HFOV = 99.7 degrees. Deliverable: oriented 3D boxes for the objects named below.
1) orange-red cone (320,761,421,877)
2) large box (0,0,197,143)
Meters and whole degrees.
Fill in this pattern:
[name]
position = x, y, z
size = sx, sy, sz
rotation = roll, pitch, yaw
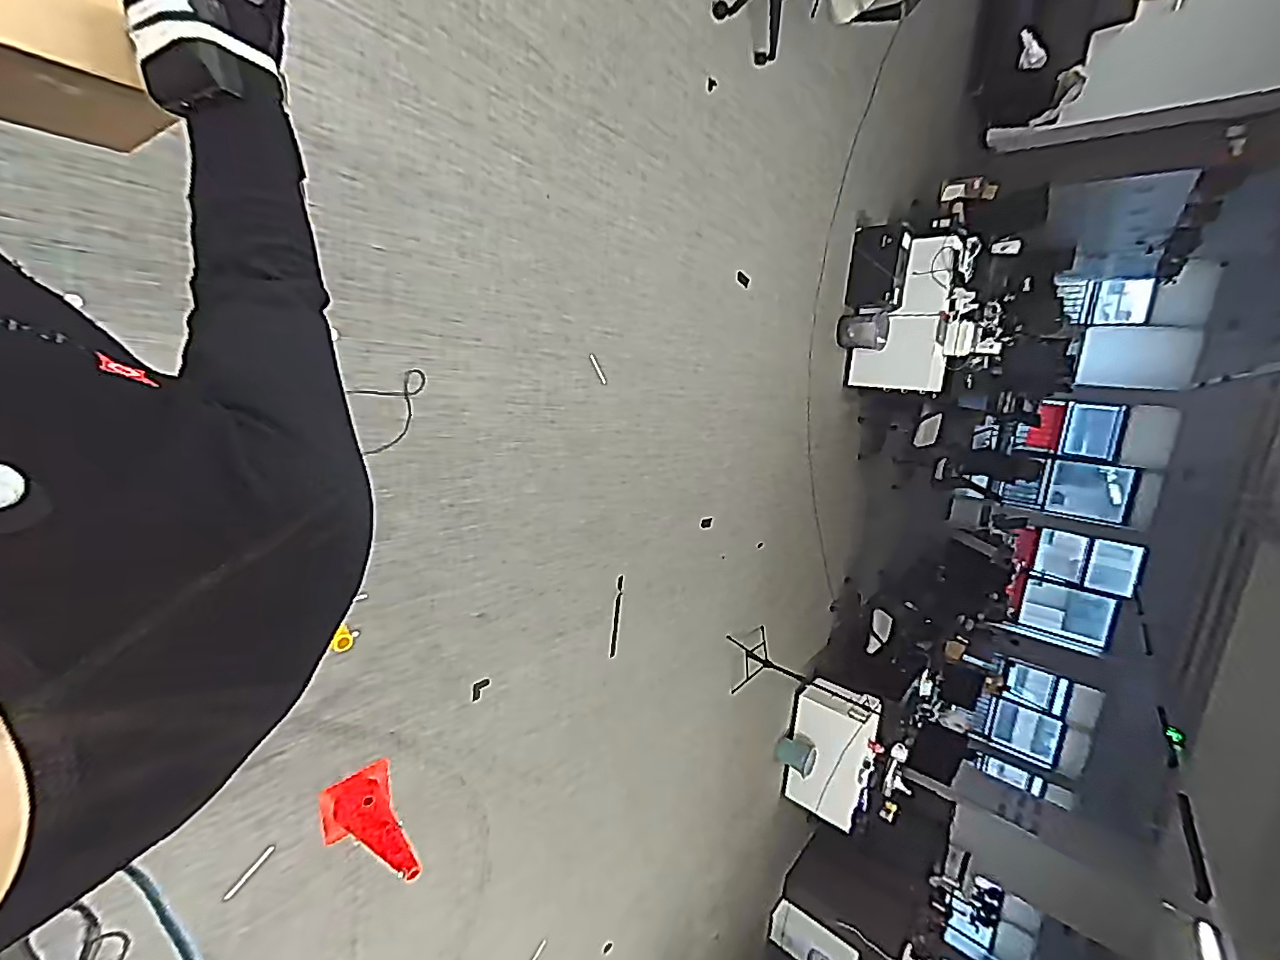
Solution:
[orange-red cone]
position = -0.738, 1.013, 1.549
size = 0.198, 0.360, 0.199
rotation = -12, 109, -50
[large box]
position = -0.561, -0.451, 0.314
size = 0.408, 0.320, 0.320
rotation = -9, 112, -50
